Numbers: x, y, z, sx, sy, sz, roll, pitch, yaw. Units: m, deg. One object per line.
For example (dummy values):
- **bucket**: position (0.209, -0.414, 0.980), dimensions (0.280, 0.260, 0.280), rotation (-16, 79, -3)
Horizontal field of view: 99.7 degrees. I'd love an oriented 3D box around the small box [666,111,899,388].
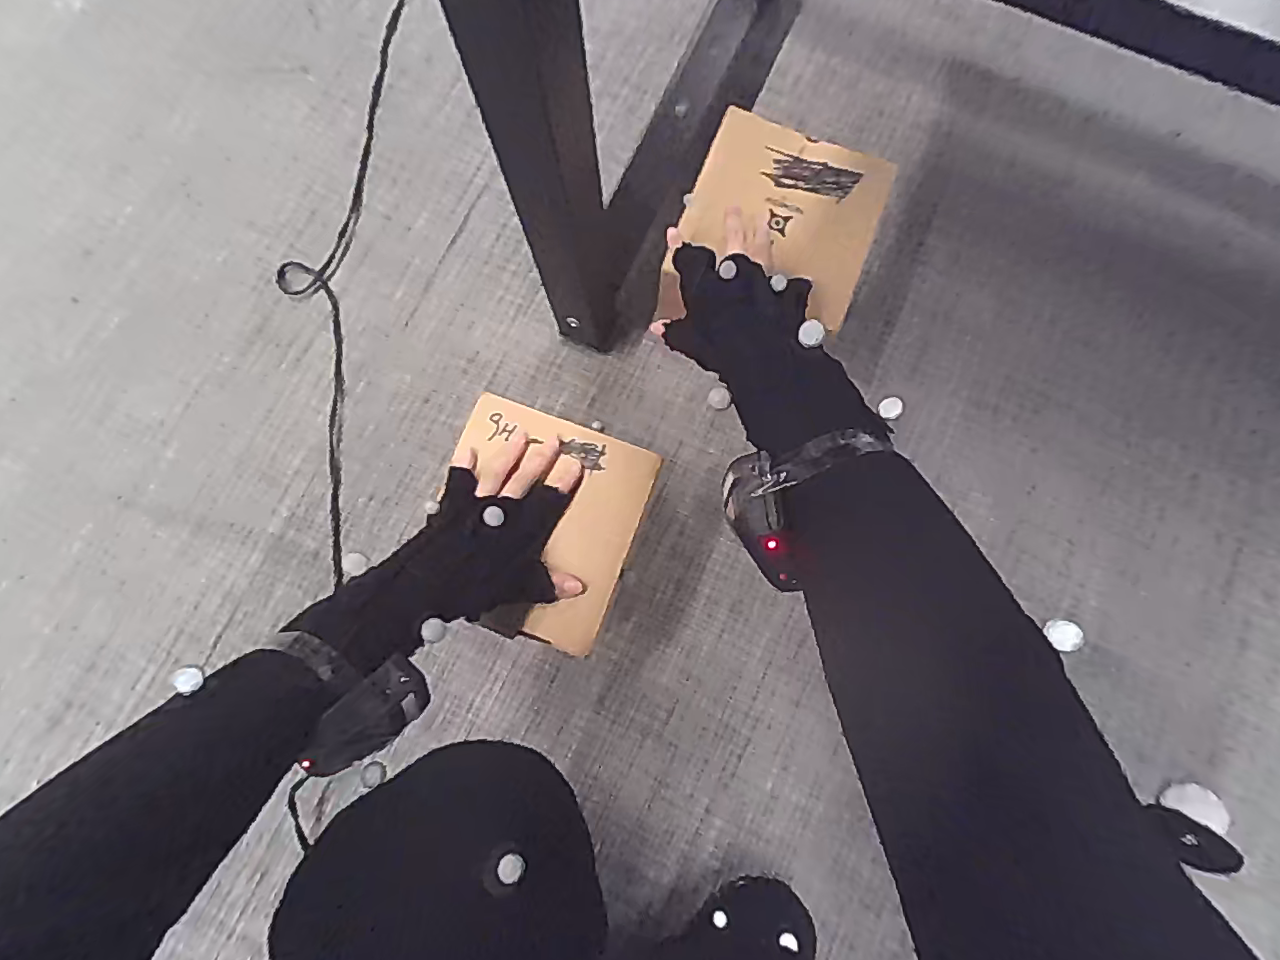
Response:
- **small box**: position (0.130, -0.223, 0.564), dimensions (0.168, 0.176, 0.179), rotation (22, 82, 4)
